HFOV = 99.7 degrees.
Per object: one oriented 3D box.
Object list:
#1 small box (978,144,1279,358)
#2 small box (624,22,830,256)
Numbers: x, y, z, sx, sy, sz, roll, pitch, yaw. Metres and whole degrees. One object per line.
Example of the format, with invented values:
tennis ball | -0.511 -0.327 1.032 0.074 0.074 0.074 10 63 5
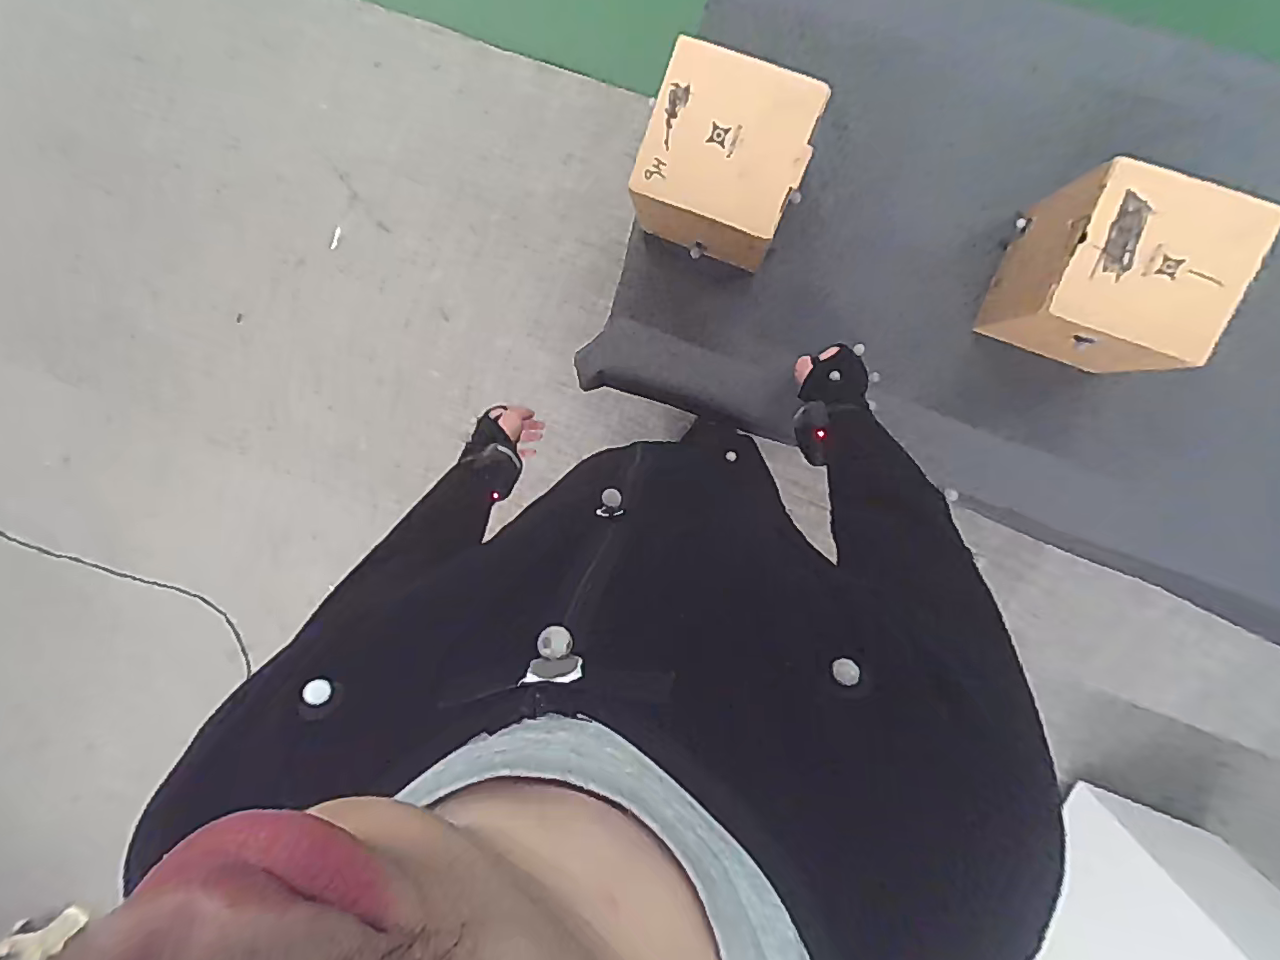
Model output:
small box | 0.542 -0.245 0.627 0.179 0.176 0.168 21 103 2
small box | 0.099 -0.391 0.658 0.179 0.176 0.168 22 102 2
